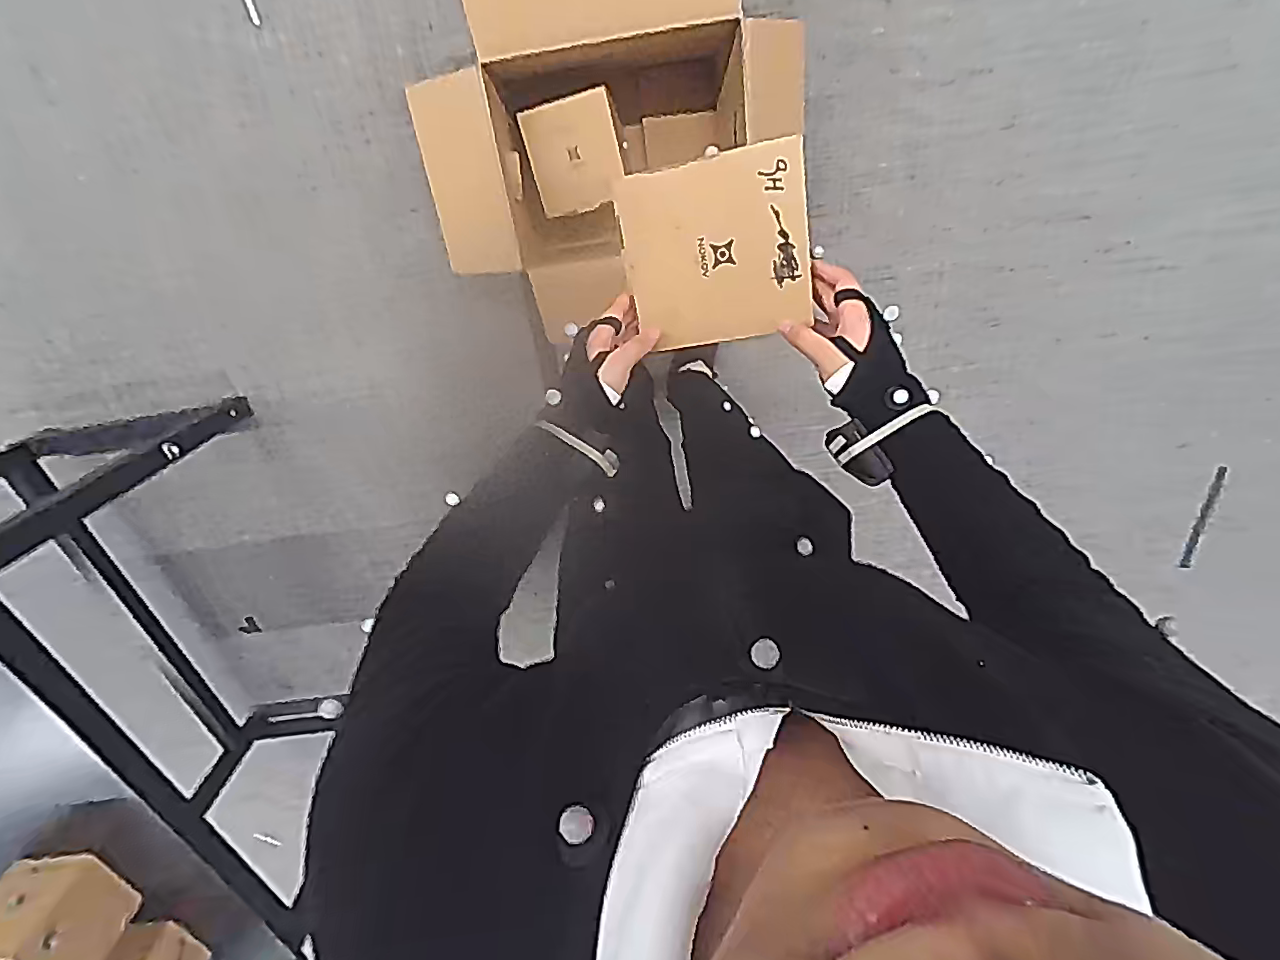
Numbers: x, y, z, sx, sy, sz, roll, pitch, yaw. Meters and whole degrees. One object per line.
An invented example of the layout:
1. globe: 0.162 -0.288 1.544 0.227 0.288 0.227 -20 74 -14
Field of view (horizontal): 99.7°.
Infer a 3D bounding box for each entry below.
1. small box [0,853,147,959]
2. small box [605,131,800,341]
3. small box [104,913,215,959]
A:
1. small box: -1.135 0.852 1.046 0.168 0.176 0.179 -8 119 4
2. small box: 0.080 -0.261 0.593 0.179 0.176 0.168 -4 116 16
3. small box: -1.094 1.082 1.176 0.179 0.176 0.168 -10 119 4
